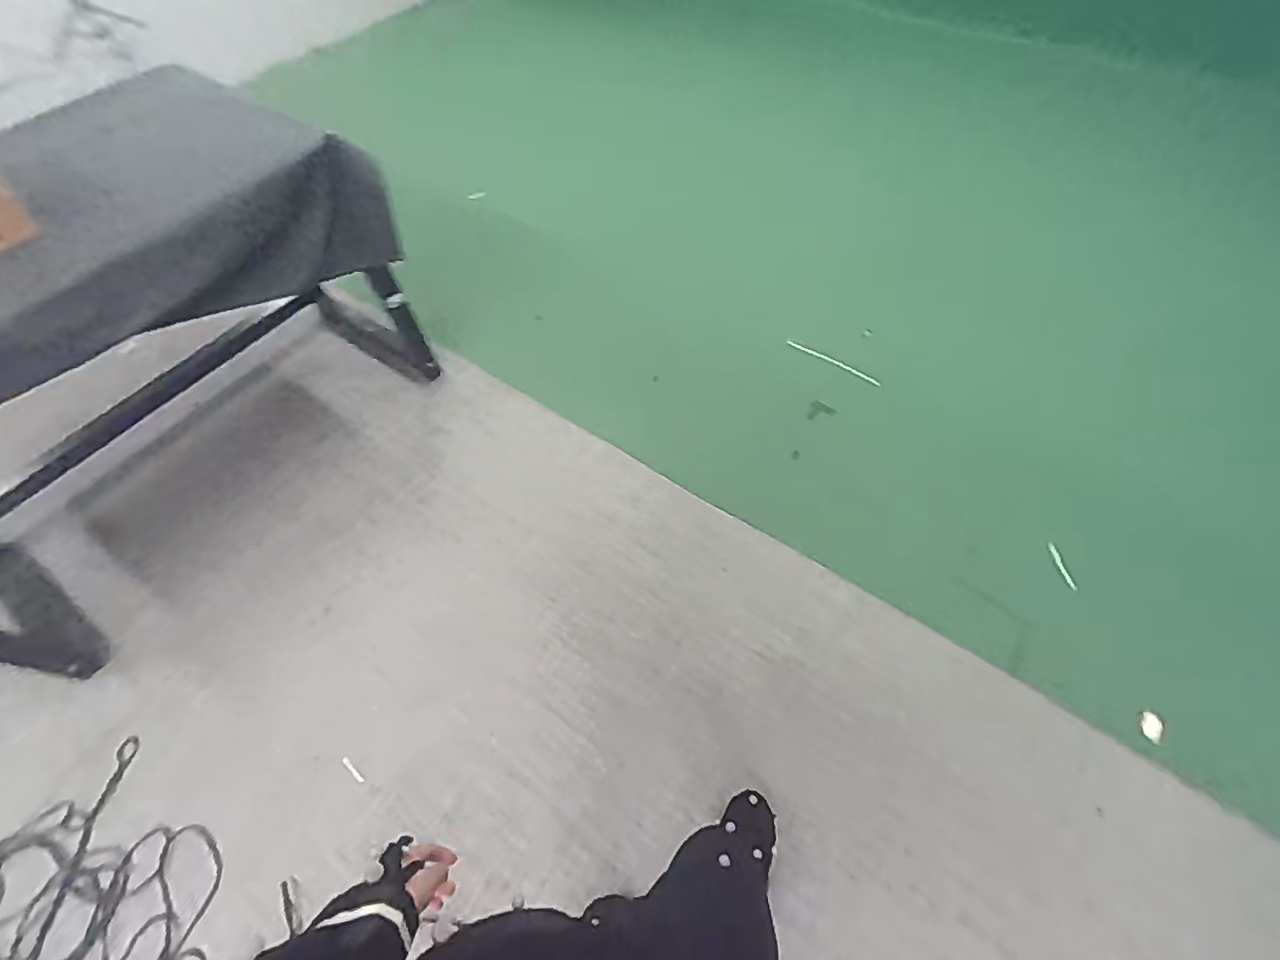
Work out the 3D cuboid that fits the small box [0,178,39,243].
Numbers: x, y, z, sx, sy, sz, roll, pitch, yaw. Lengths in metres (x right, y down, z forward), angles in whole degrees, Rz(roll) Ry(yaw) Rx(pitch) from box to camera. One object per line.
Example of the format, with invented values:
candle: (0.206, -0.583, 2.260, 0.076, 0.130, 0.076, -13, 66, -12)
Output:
small box: (-1.194, -0.498, 0.906, 0.179, 0.176, 0.168, 37, 66, 21)
